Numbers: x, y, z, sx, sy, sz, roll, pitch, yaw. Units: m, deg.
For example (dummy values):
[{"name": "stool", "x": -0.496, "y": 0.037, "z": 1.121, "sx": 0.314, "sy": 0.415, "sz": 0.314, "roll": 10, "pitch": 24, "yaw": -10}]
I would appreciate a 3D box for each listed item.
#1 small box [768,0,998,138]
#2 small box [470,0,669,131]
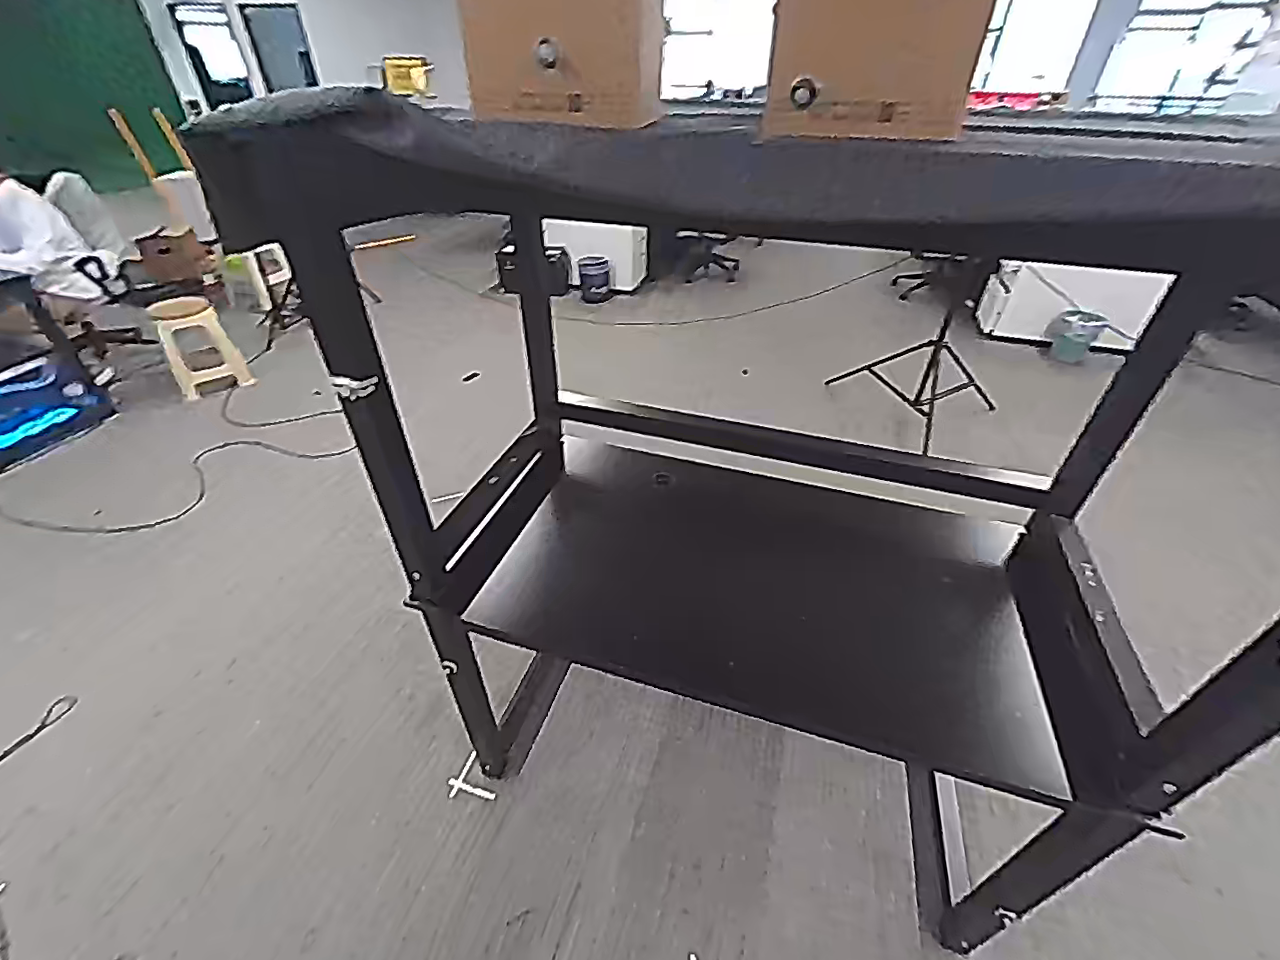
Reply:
[{"name": "small box", "x": 0.215, "y": -0.412, "z": 0.486, "sx": 0.168, "sy": 0.176, "sz": 0.179, "roll": 11, "pitch": 37, "yaw": 13}, {"name": "small box", "x": -0.063, "y": -0.455, "z": 0.537, "sx": 0.168, "sy": 0.176, "sz": 0.179, "roll": 6, "pitch": 37, "yaw": 7}]
